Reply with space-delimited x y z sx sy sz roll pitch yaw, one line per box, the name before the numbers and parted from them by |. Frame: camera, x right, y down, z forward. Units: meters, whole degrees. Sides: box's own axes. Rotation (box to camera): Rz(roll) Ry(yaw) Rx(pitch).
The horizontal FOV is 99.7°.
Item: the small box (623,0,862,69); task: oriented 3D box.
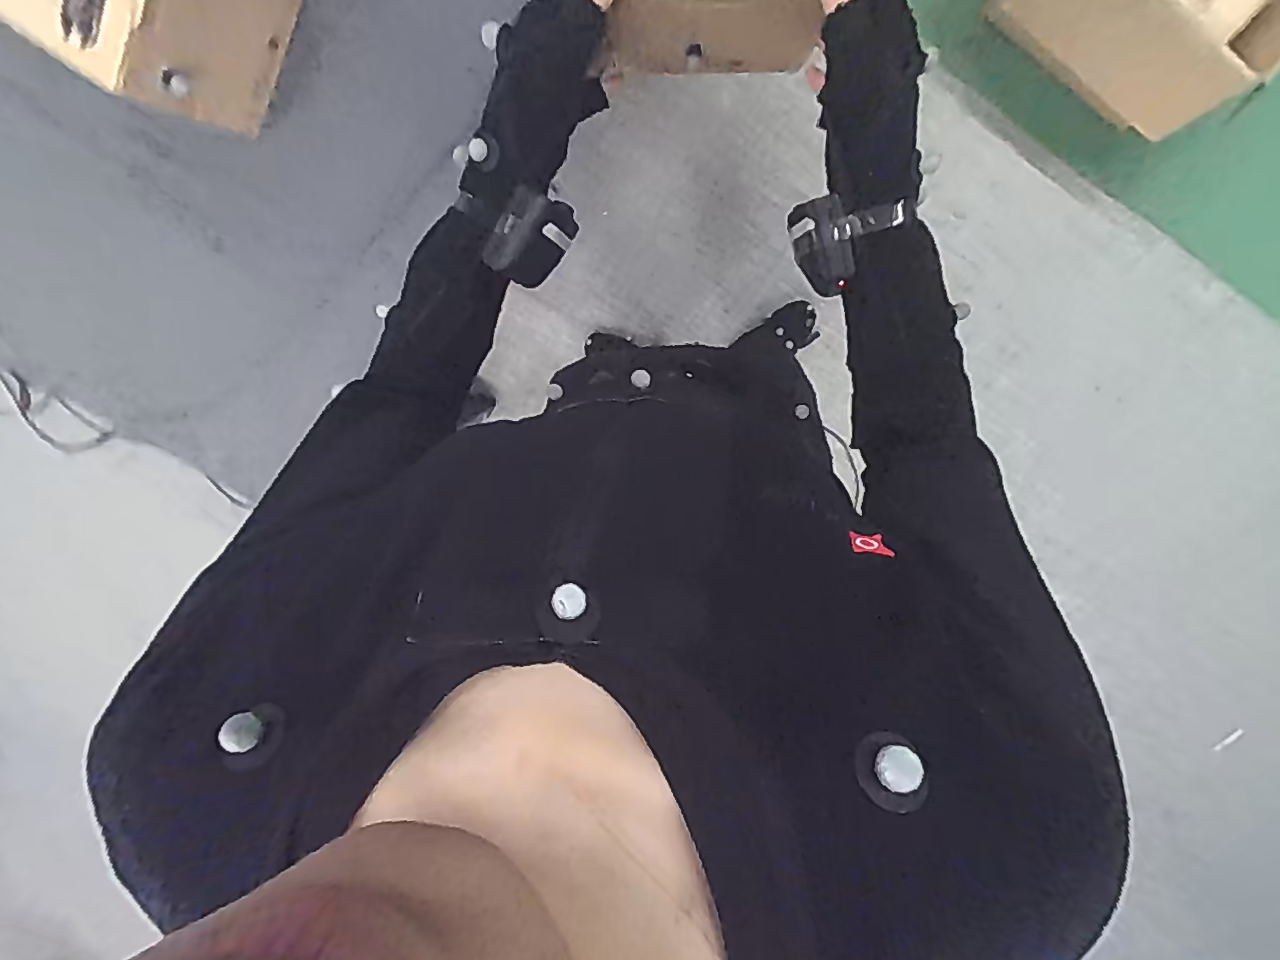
small box | 0.070 -0.419 0.376 0.168 0.176 0.179 2 114 3
